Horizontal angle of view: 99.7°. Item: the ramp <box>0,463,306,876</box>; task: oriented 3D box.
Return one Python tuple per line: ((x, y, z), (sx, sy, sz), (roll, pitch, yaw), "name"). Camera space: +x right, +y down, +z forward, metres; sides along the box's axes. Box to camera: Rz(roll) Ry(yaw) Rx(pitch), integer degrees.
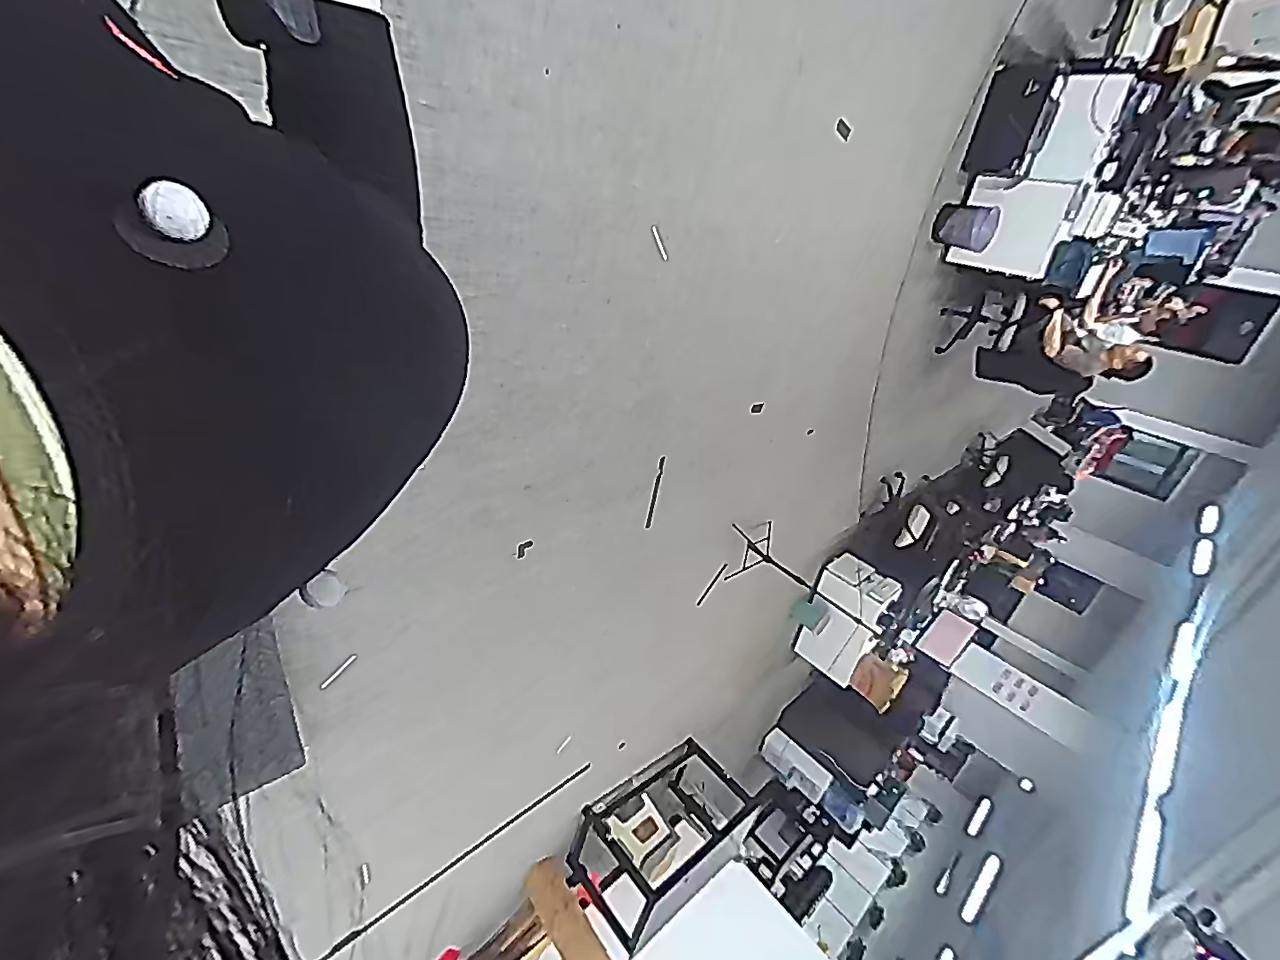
((-1.205, 0.476, 1.342), (0.509, 0.206, 0.991), (-19, 128, -39), "ramp")
